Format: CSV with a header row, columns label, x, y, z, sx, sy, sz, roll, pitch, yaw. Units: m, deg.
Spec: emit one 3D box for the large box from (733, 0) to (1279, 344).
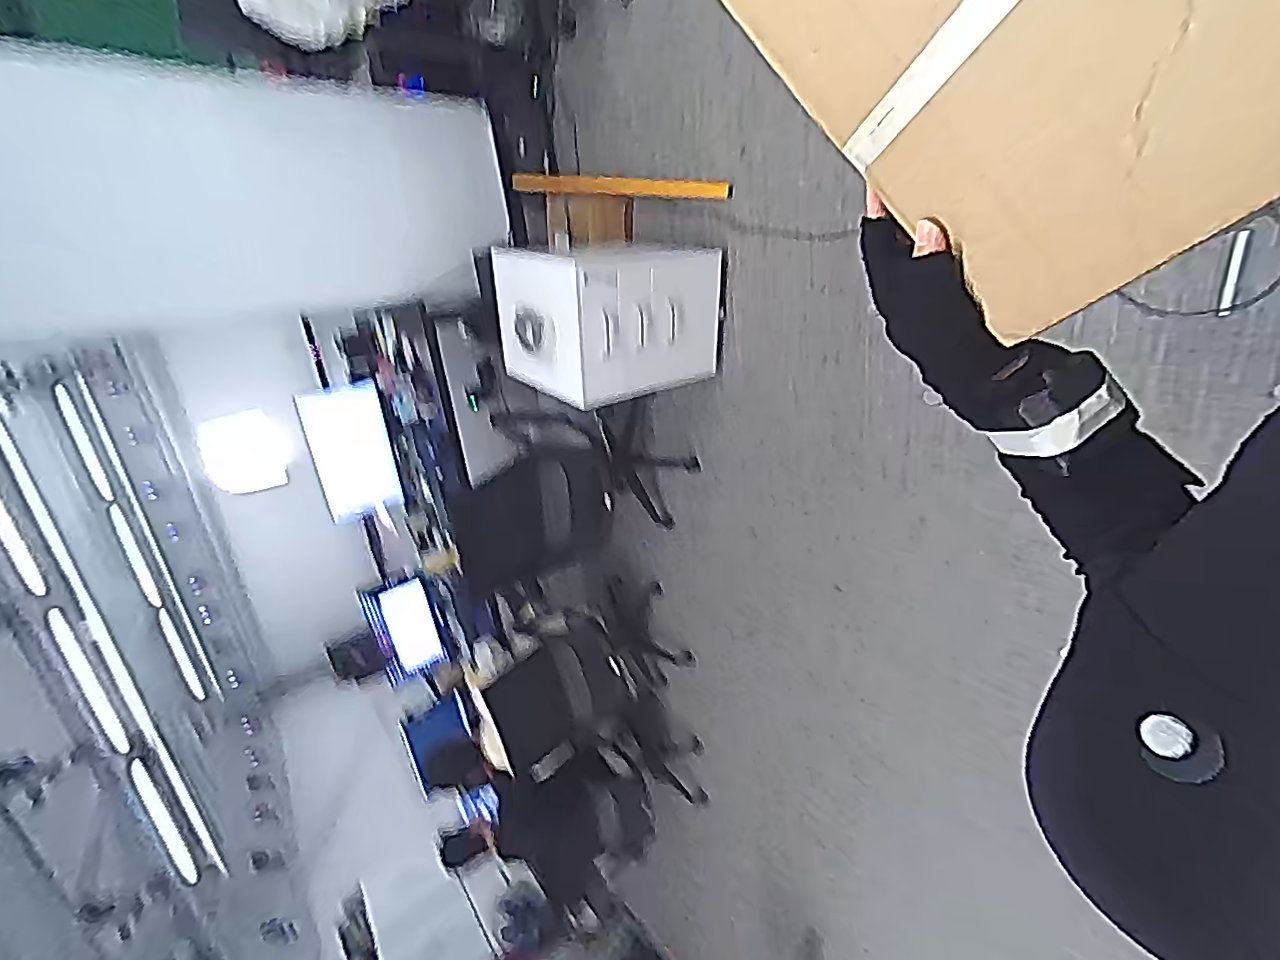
label,x,y,z,sx,sy,sz,roll,pitch,yaw
large box,0.328,-0.349,0.260,0.320,0.320,0.408,54,150,2
